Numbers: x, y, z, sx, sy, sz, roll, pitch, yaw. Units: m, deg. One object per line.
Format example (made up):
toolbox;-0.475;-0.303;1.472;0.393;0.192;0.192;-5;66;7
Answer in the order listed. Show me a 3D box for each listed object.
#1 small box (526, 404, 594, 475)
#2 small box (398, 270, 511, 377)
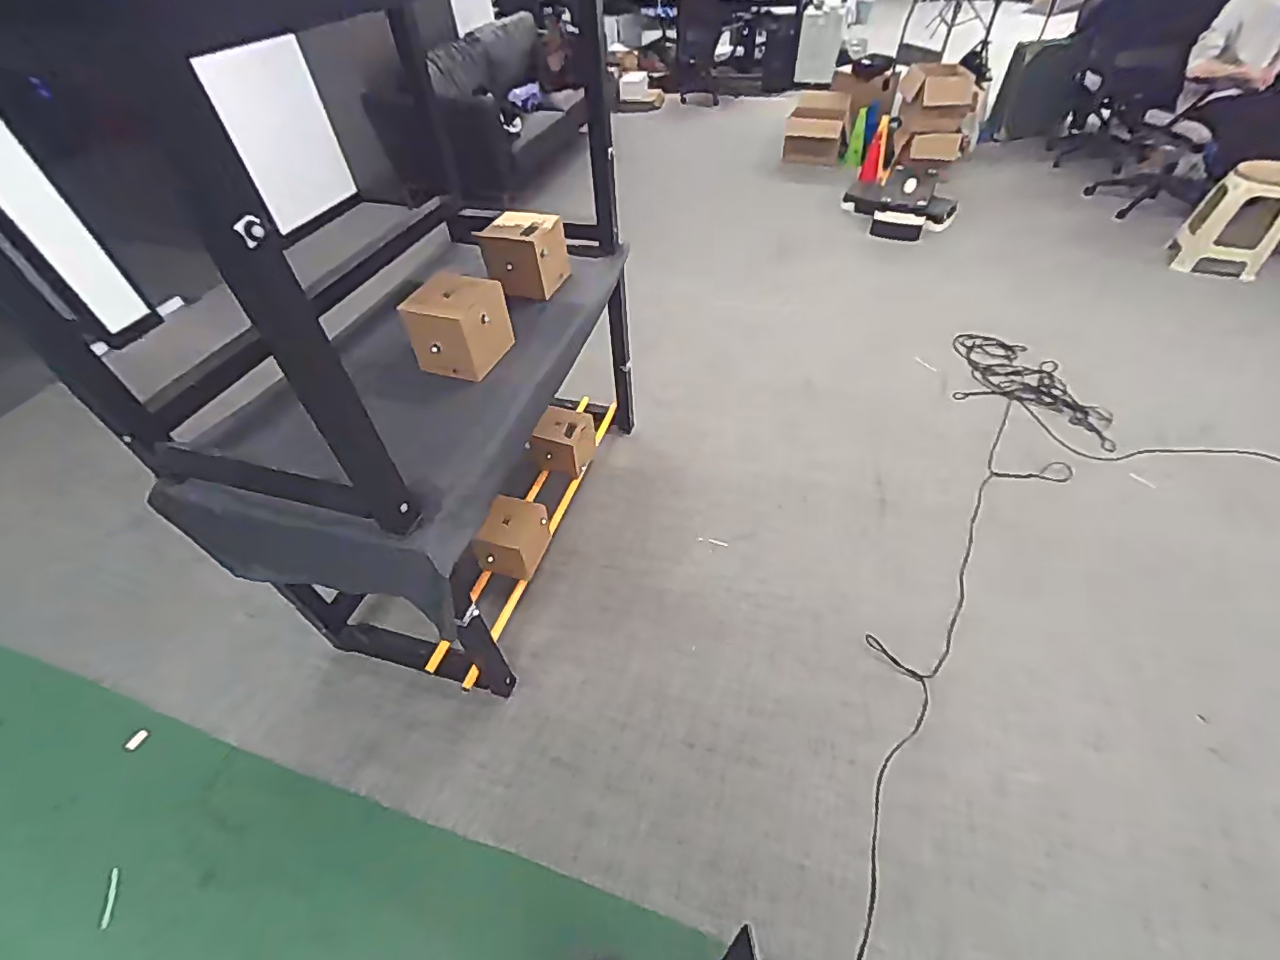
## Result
small box;-0.274;-0.139;1.902;0.179;0.176;0.168;14;49;15
small box;-0.423;-0.366;1.270;0.168;0.176;0.179;14;49;15
